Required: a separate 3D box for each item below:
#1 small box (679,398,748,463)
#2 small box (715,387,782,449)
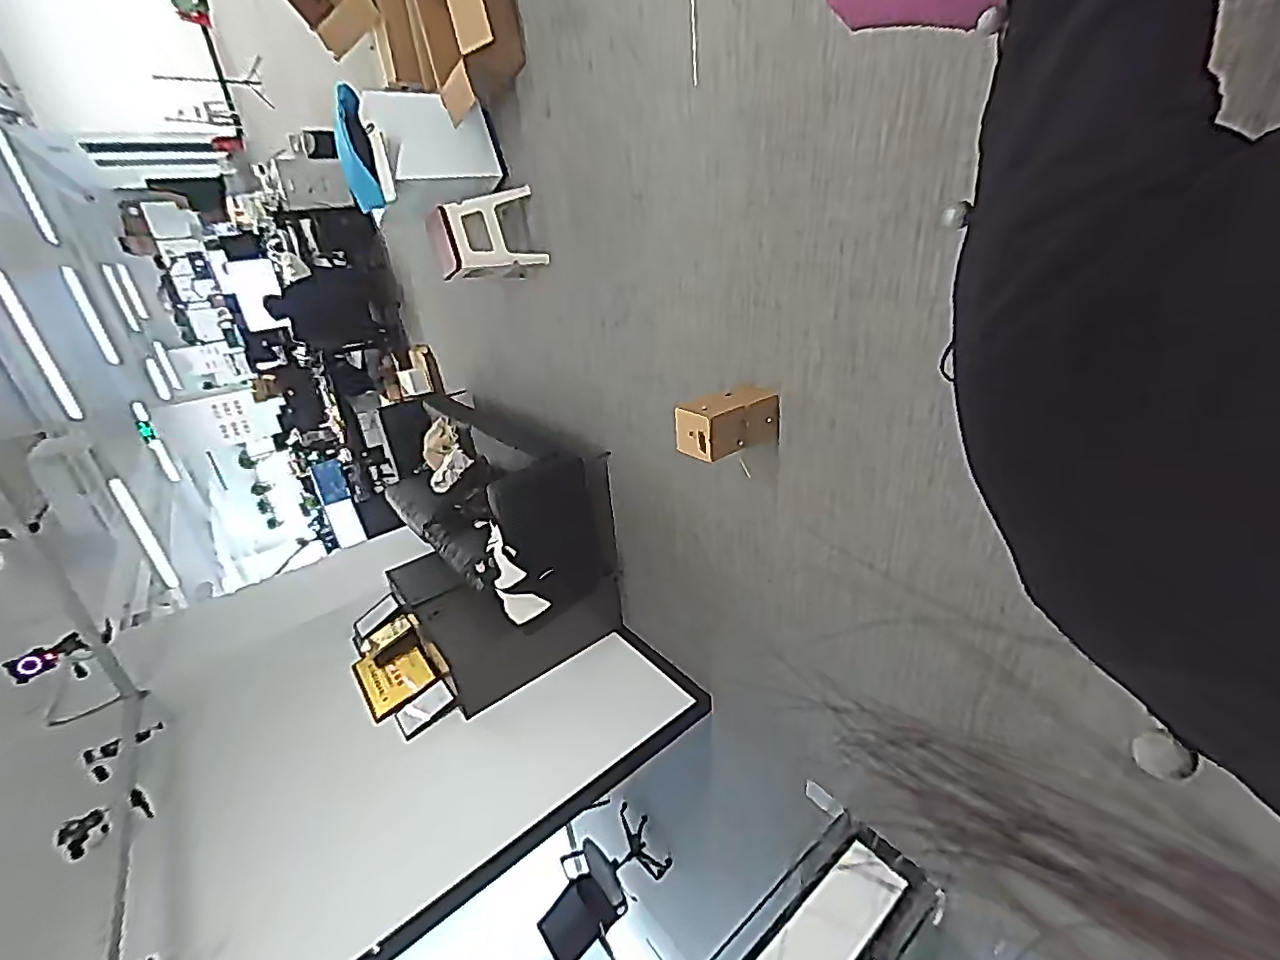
[{"bbox_3d":[0.260,-0.179,1.887,0.179,0.176,0.168,26,130,48],"label":"small box"},{"bbox_3d":[0.393,-0.232,1.969,0.179,0.176,0.168,26,131,46],"label":"small box"}]
